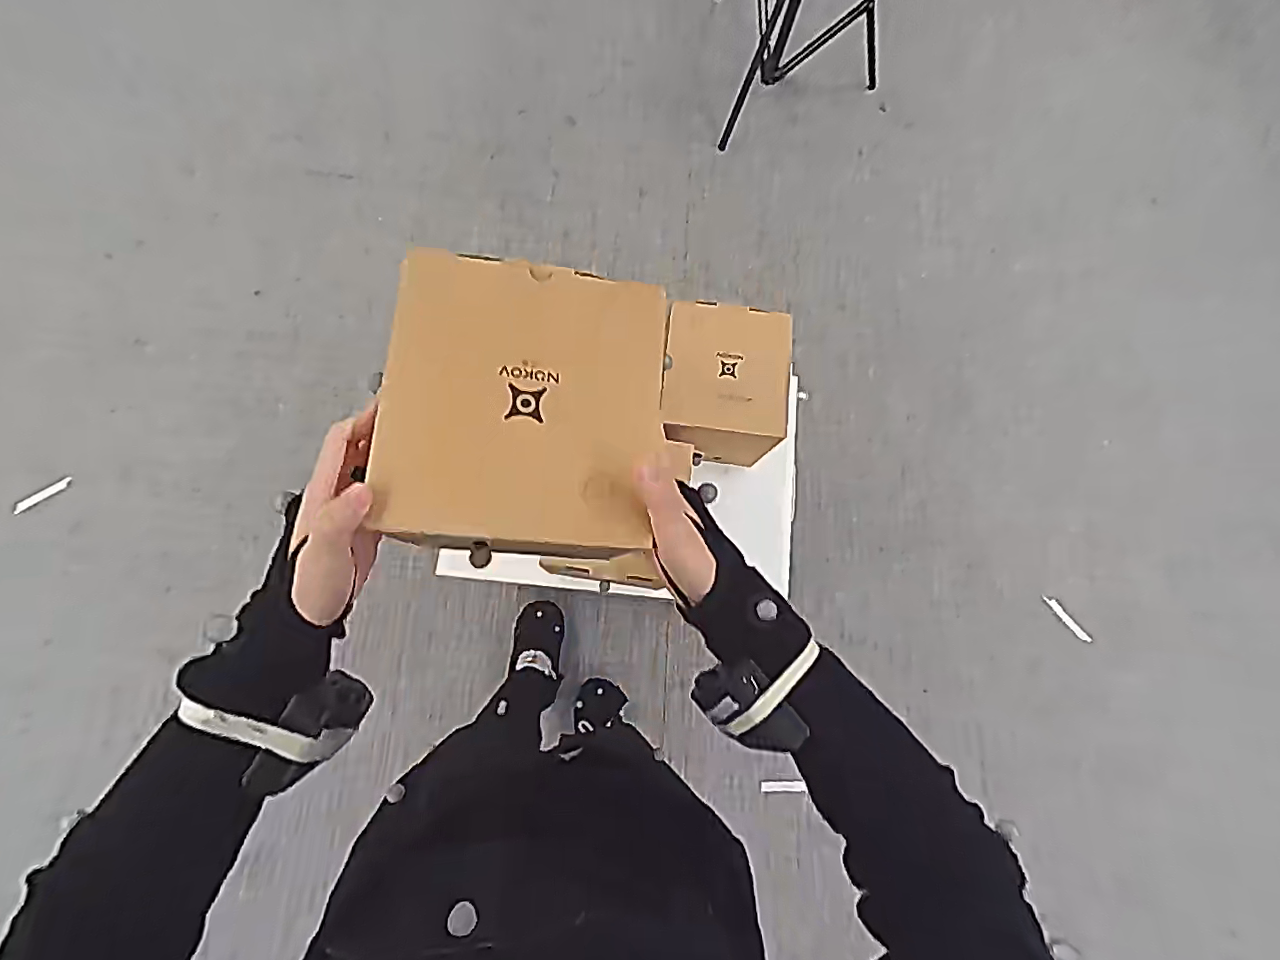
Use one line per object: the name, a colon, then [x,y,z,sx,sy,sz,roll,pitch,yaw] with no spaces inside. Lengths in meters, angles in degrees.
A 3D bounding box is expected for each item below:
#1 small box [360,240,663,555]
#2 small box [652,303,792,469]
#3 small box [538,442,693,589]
small box: [-0.085,-0.039,0.403,0.168,0.176,0.179,6,77,-11]
small box: [0.108,-0.126,0.777,0.168,0.176,0.179,6,79,-2]
small box: [-0.033,0.049,0.724,0.168,0.176,0.179,9,77,-3]
